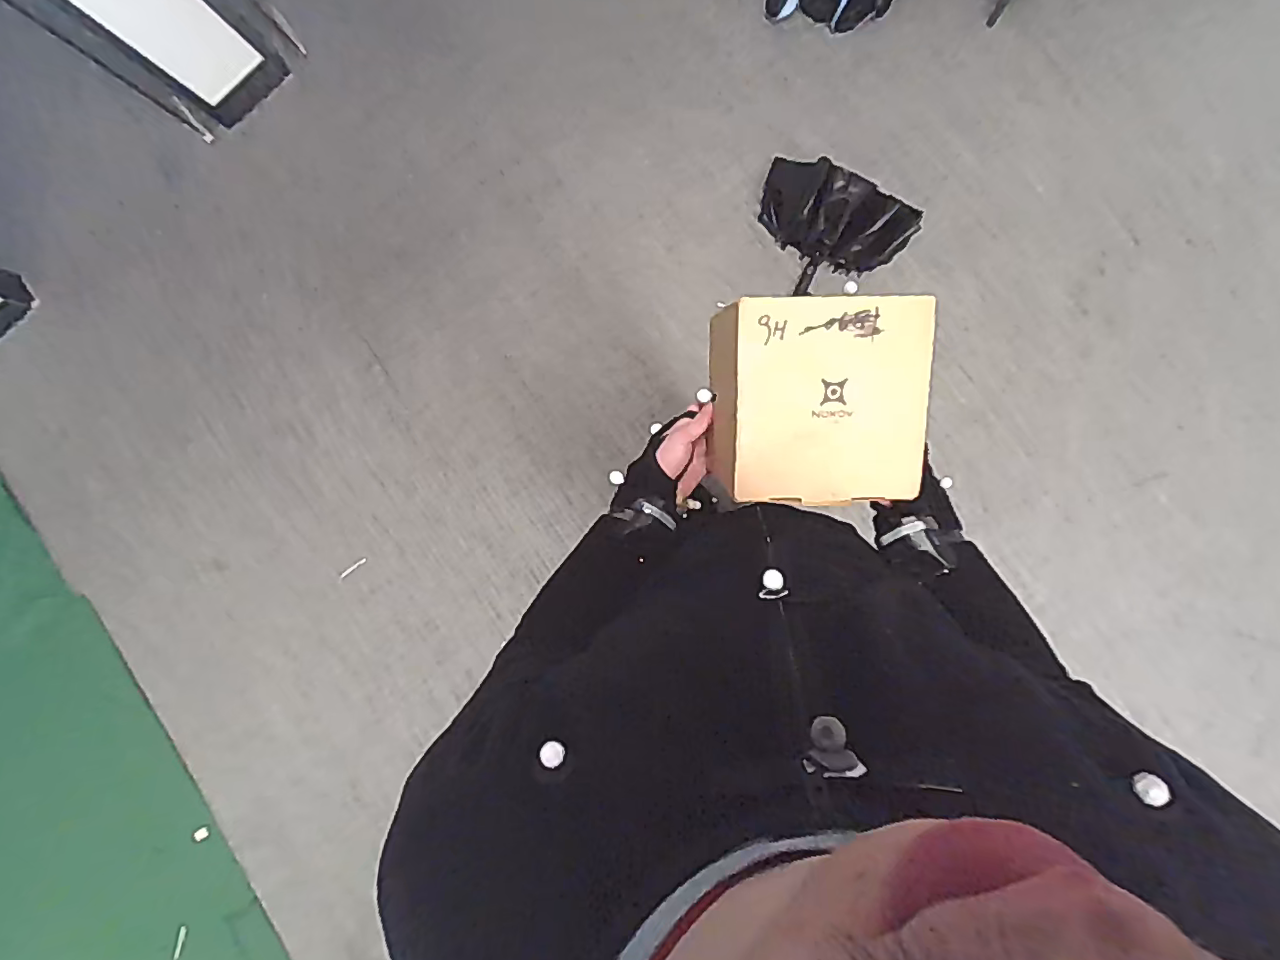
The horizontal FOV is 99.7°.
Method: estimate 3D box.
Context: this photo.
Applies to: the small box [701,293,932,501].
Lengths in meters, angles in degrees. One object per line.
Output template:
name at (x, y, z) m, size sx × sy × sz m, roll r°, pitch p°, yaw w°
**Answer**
small box at (0.154, -0.084, 0.534) m, size 0.168 × 0.176 × 0.179 m, roll -1°, pitch 102°, yaw -1°
